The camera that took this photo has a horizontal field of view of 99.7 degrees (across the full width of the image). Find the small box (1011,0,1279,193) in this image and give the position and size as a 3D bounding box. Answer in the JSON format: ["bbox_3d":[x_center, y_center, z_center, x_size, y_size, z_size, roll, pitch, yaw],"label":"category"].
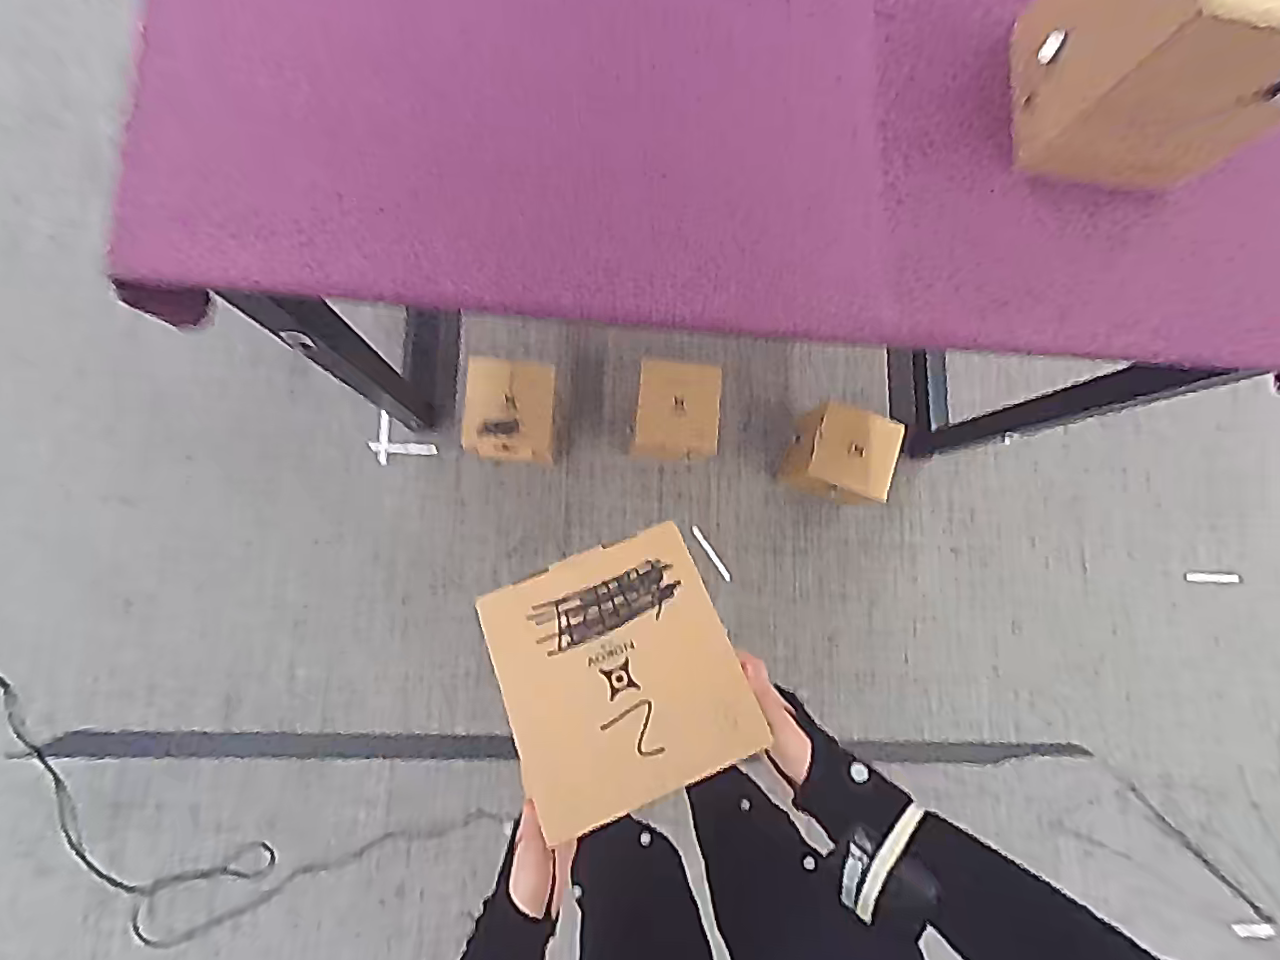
[{"bbox_3d":[0.478,-0.390,0.485,0.179,0.176,0.168,5,82,-6],"label":"small box"}]

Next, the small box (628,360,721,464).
[{"bbox_3d":[0.067,-0.135,1.146,0.168,0.176,0.179,5,81,-7],"label":"small box"}]

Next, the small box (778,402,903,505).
[{"bbox_3d":[0.429,-0.049,1.179,0.179,0.176,0.168,20,82,-3],"label":"small box"}]

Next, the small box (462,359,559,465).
[{"bbox_3d":[-0.255,-0.129,1.104,0.168,0.176,0.179,4,81,-6],"label":"small box"}]
